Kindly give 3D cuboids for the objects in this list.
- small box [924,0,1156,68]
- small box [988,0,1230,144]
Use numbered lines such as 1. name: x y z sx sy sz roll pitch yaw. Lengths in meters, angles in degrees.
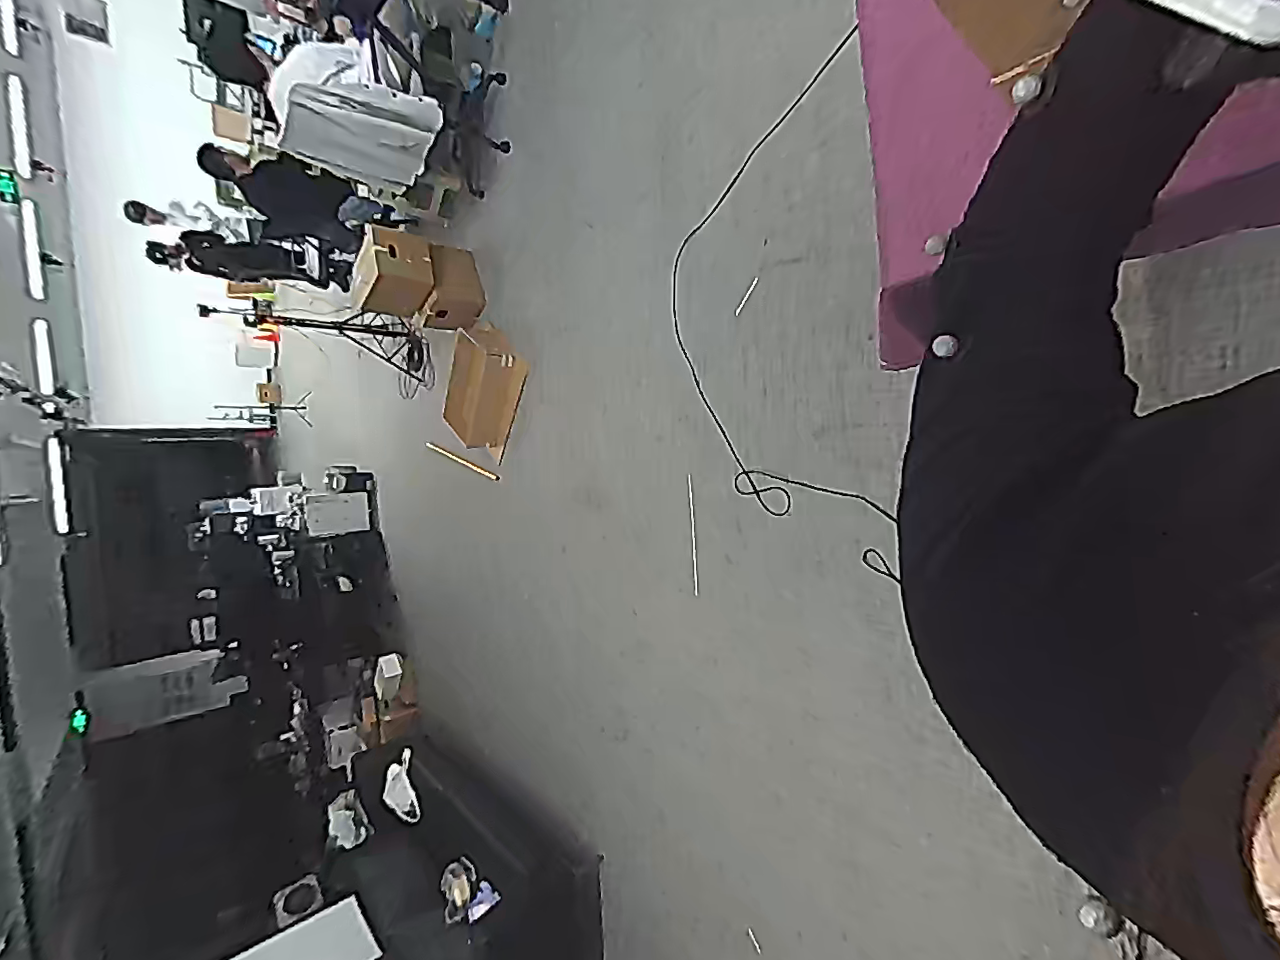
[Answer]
1. small box: 0.343 -0.479 0.434 0.168 0.176 0.179 -2 92 49
2. small box: 0.467 -0.485 0.542 0.168 0.176 0.179 -2 92 49
